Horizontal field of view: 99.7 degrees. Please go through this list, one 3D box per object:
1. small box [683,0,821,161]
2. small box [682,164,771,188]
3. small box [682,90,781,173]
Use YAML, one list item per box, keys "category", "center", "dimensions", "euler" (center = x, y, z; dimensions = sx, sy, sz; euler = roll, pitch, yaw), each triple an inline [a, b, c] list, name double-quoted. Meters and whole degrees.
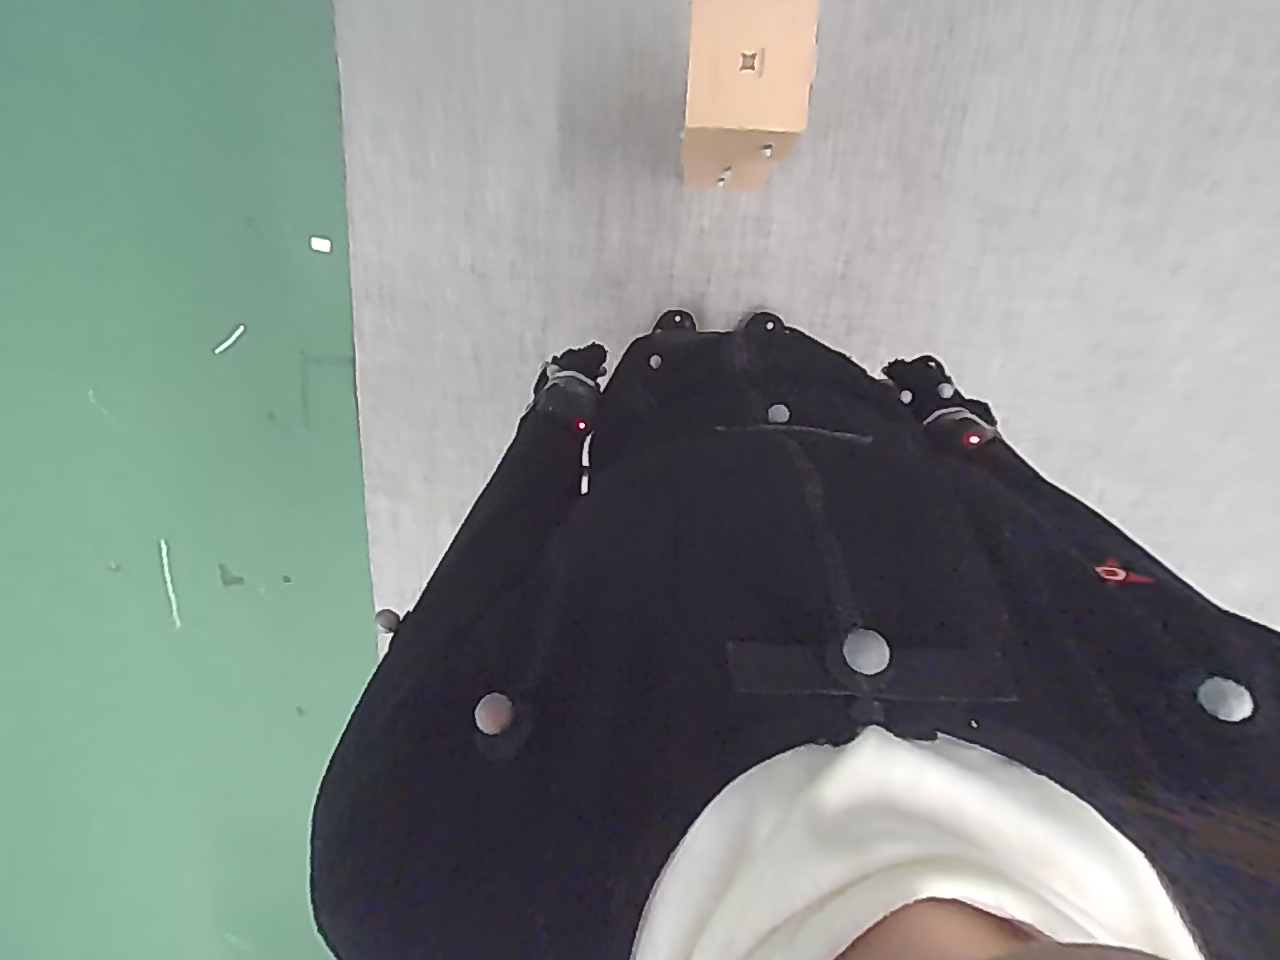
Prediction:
- category: "small box"
  center: [0.160, -0.604, 0.827]
  dimensions: [0.179, 0.176, 0.168]
  euler: [4, 107, 5]
- category: "small box"
  center: [0.185, -0.722, 1.131]
  dimensions: [0.179, 0.176, 0.168]
  euler: [6, 108, 4]
- category: "small box"
  center: [0.168, -0.668, 0.978]
  dimensions: [0.179, 0.176, 0.168]
  euler: [4, 108, 4]
